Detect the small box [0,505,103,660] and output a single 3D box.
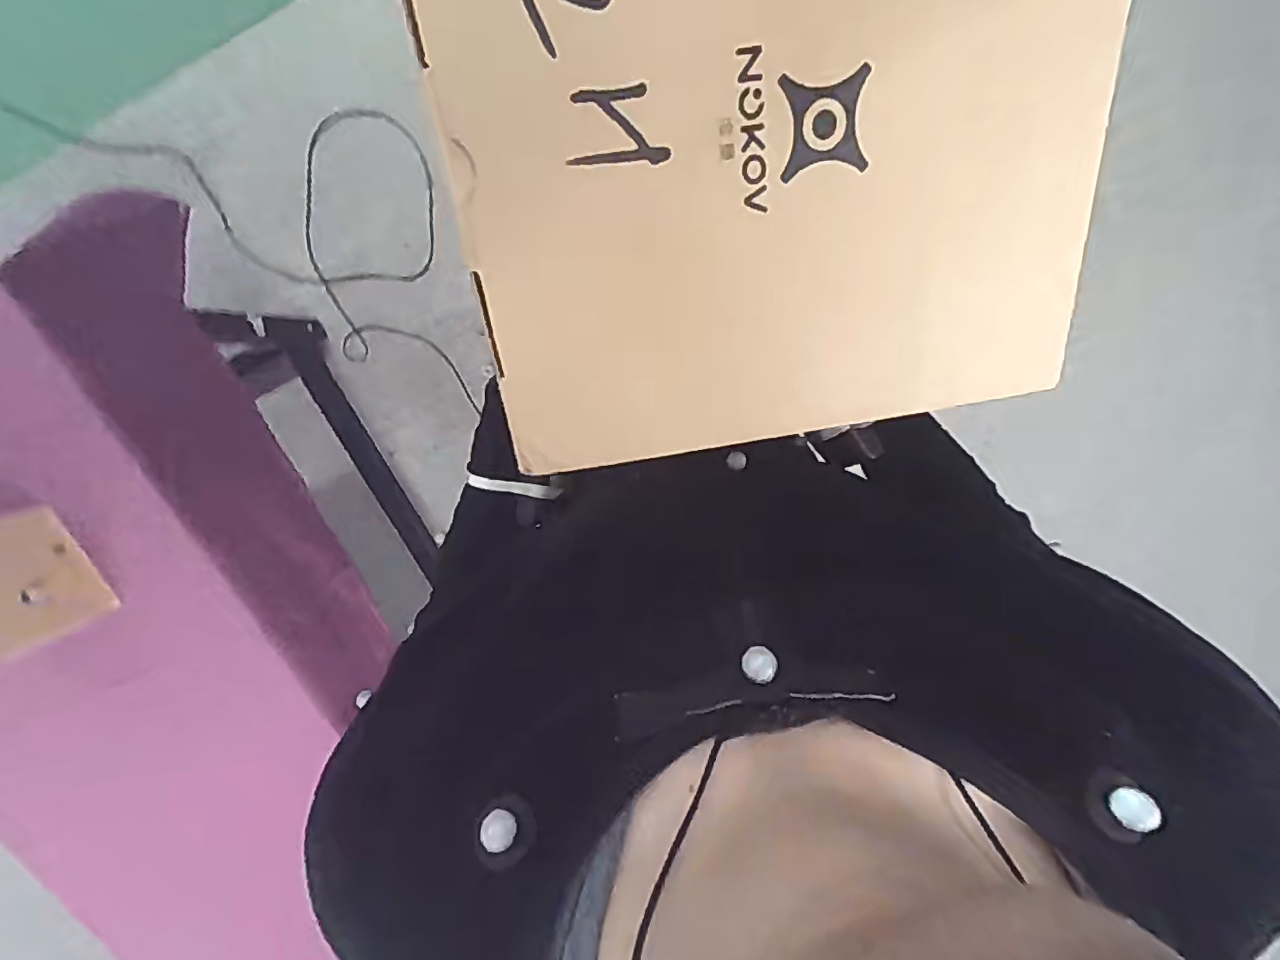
[{"bbox_3d":[-0.859,0.152,0.691,0.179,0.176,0.168,-23,104,5],"label":"small box"}]
